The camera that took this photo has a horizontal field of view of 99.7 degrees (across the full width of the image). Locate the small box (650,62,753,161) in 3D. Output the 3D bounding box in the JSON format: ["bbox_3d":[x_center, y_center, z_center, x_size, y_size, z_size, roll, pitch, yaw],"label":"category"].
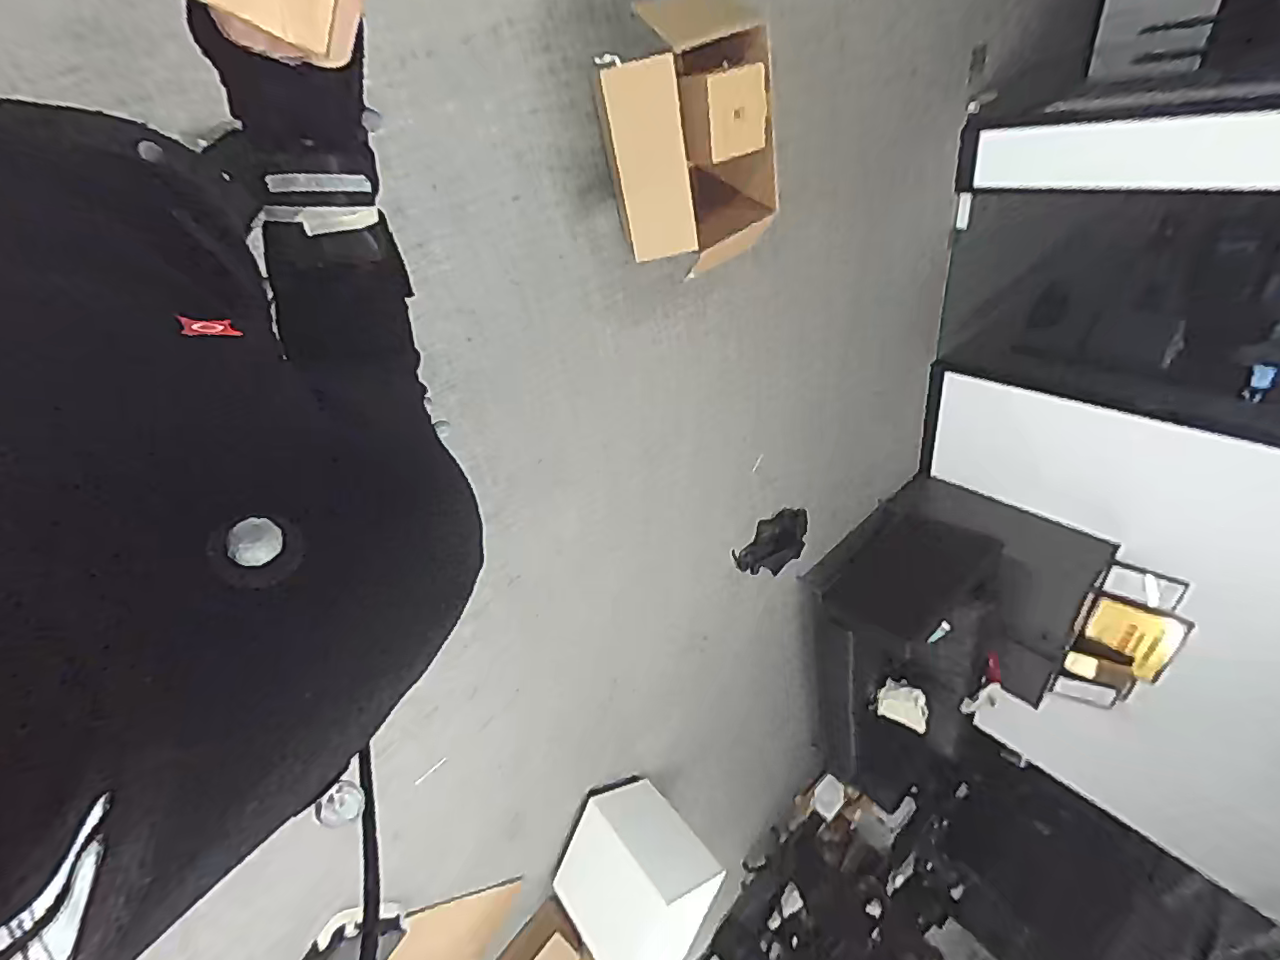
[{"bbox_3d":[0.147,-0.872,1.279,0.179,0.176,0.168,-31,133,-23],"label":"small box"}]
